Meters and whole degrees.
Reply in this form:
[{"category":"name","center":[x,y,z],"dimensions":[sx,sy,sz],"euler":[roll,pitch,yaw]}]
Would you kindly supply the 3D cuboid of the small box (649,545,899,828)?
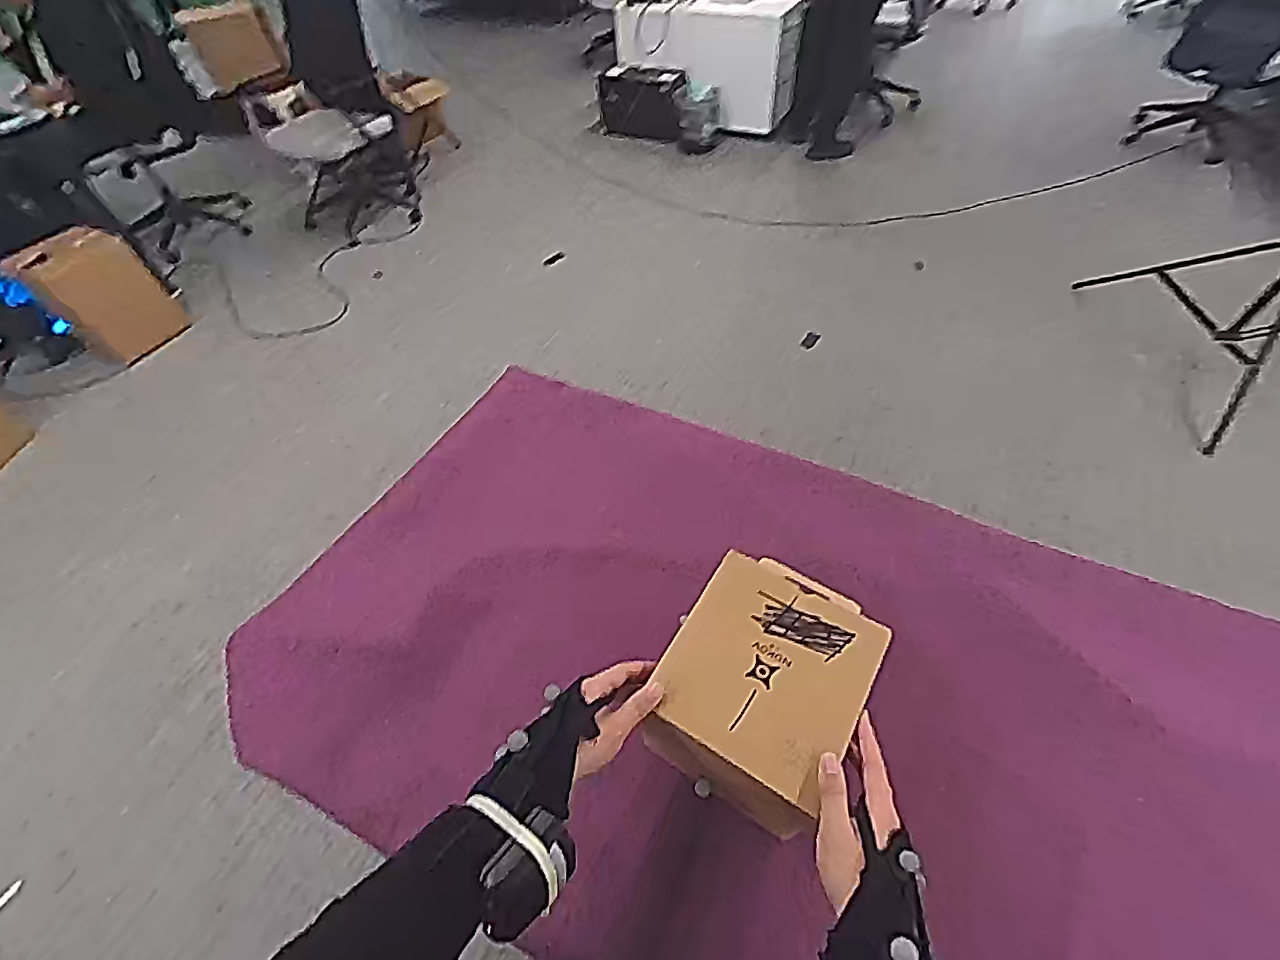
[{"category":"small box","center":[0.122,0.203,0.533],"dimensions":[0.168,0.176,0.179],"euler":[26,58,22]}]
